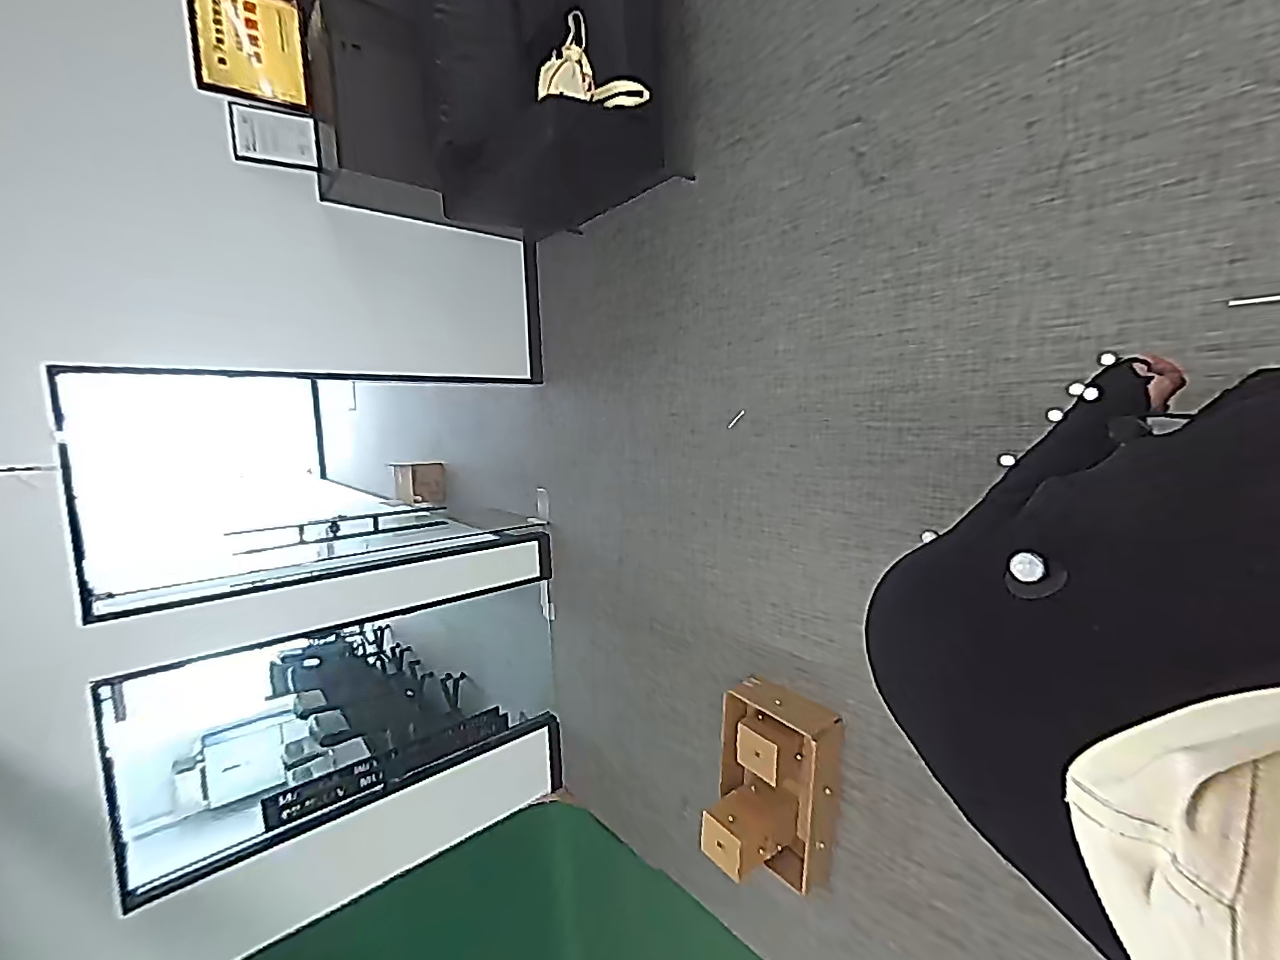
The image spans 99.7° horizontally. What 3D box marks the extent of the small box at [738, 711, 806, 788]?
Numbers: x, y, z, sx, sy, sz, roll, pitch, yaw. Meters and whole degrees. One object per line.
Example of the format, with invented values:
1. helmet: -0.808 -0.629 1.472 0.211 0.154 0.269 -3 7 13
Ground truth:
1. small box: 0.479 0.970 1.969 0.179 0.176 0.168 12 105 49

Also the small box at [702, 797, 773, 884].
1. small box: 0.345 1.265 1.918 0.179 0.176 0.168 13 104 49
